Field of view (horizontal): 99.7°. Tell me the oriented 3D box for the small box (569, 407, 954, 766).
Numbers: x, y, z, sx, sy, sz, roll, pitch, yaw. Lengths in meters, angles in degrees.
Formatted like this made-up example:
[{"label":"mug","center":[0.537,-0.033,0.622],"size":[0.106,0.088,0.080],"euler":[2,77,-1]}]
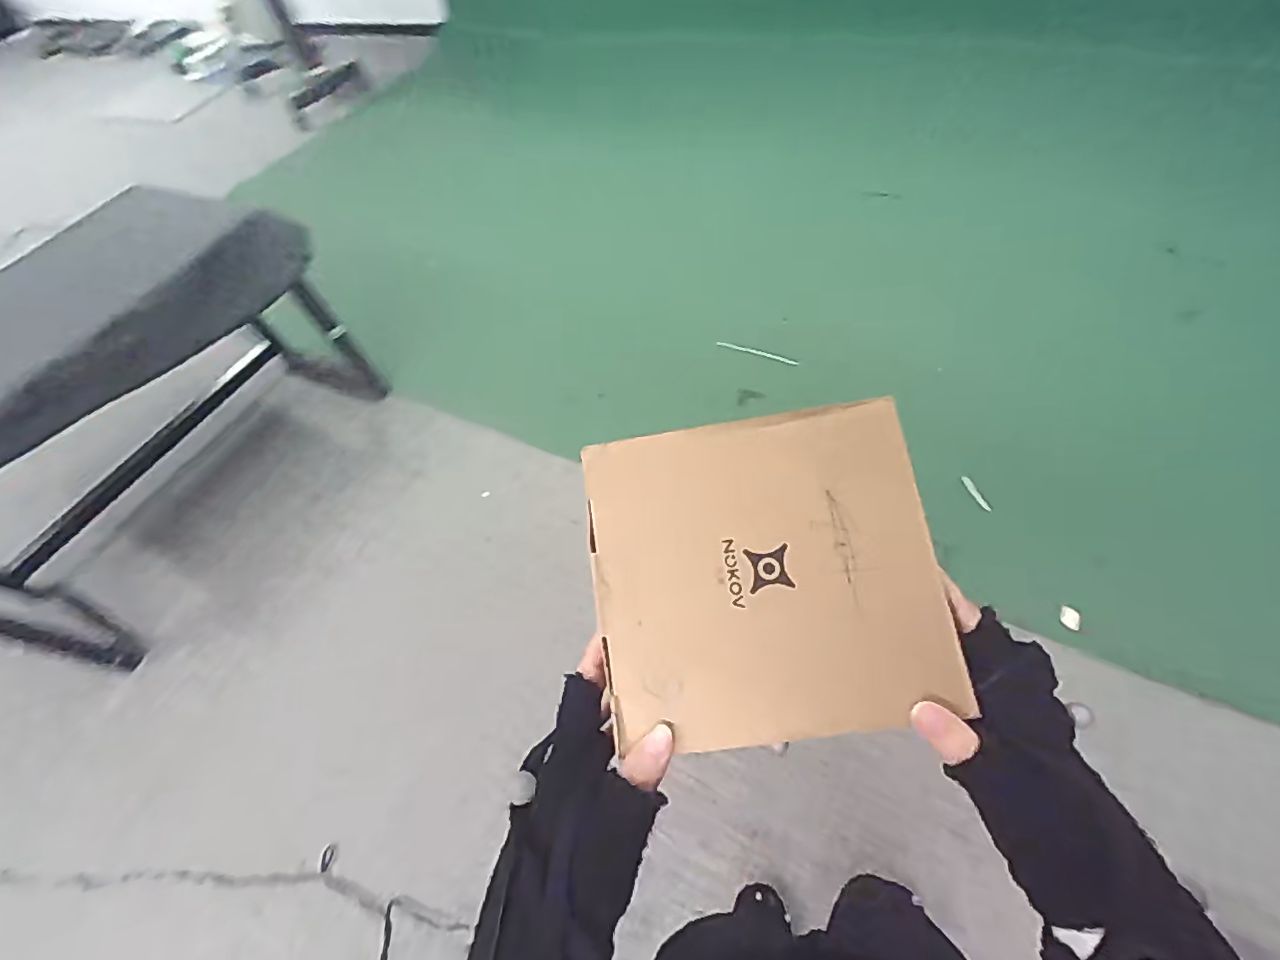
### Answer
[{"label":"small box","center":[0.063,0.070,0.364],"size":[0.179,0.176,0.168],"euler":[-11,77,1]}]
